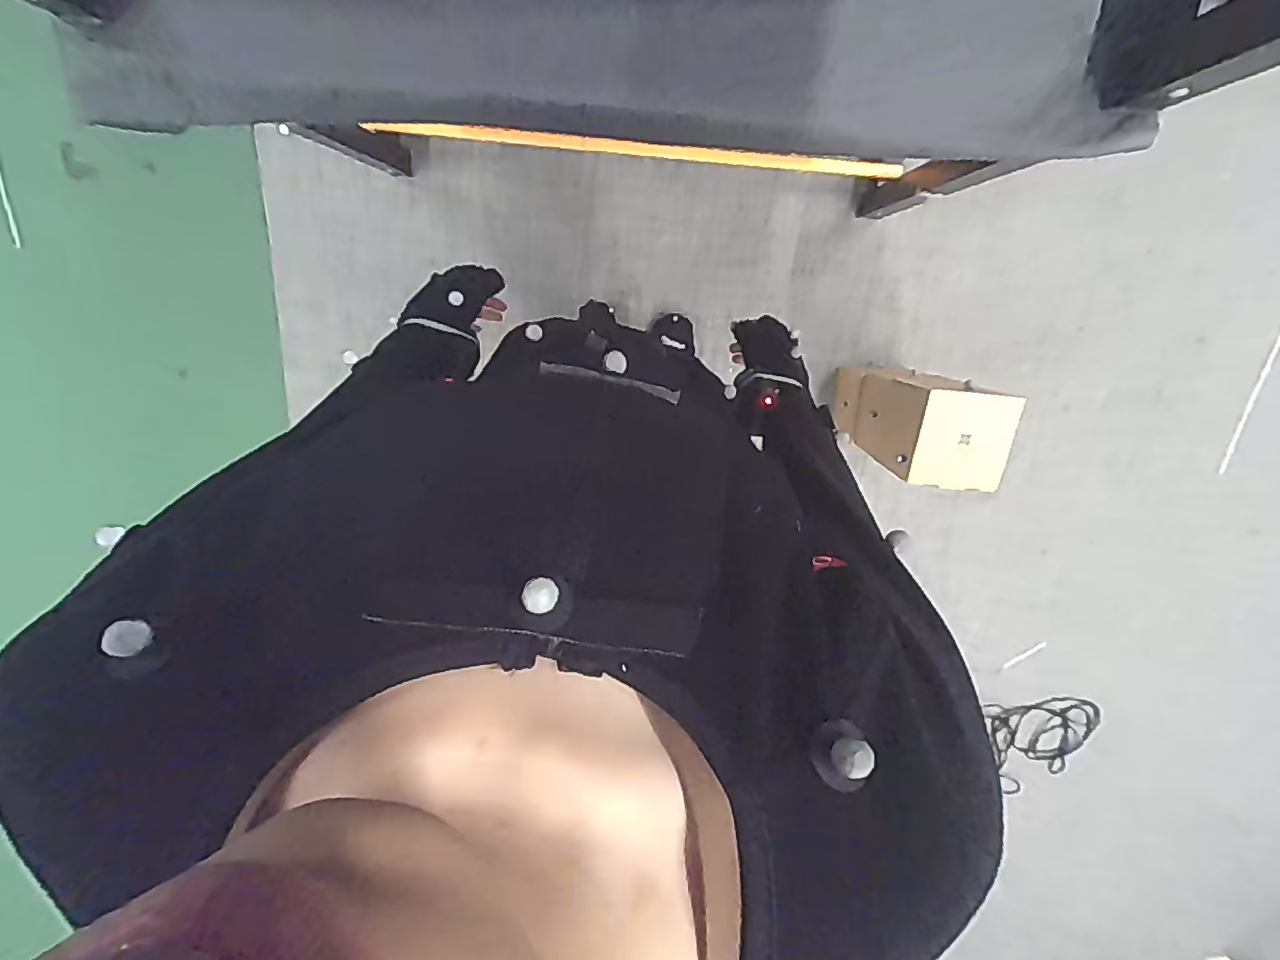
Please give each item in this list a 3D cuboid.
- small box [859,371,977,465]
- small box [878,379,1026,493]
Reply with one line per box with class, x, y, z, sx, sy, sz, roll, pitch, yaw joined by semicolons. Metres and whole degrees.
small box;0.593;-0.135;1.177;0.168;0.176;0.179;3;108;2
small box;0.572;-0.090;1.021;0.168;0.176;0.179;6;109;1
